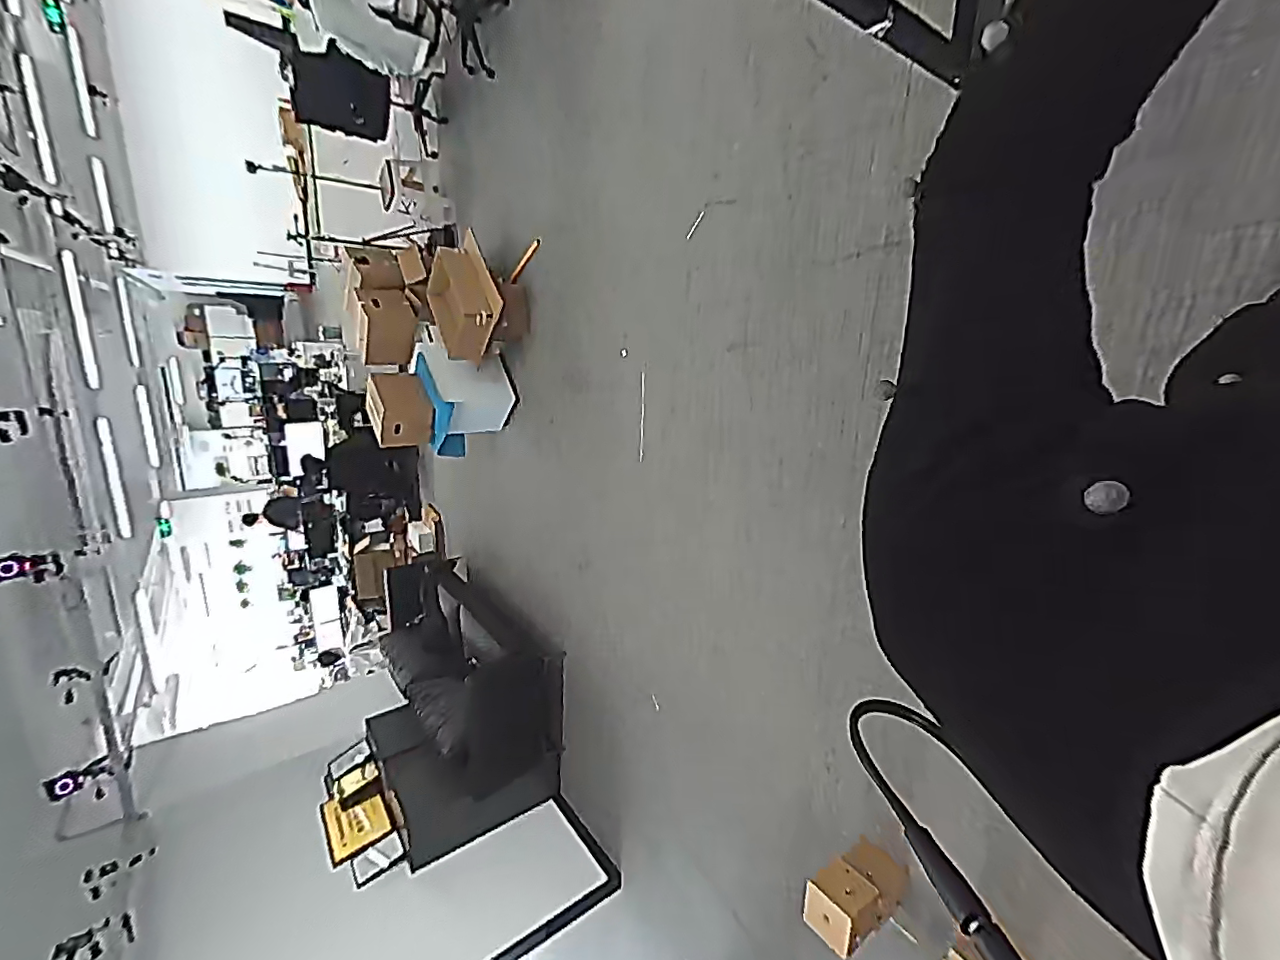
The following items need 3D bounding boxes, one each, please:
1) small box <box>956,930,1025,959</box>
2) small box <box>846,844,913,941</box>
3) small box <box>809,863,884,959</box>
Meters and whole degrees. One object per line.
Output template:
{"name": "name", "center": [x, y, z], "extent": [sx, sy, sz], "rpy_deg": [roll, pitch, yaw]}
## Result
{"name": "small box", "center": [1.044, 1.485, 1.594], "extent": [0.179, 0.176, 0.168], "rpy_deg": [26, 117, 49]}
{"name": "small box", "center": [0.820, 1.430, 1.888], "extent": [0.179, 0.176, 0.168], "rpy_deg": [24, 115, 50]}
{"name": "small box", "center": [0.688, 1.433, 1.793], "extent": [0.168, 0.176, 0.179], "rpy_deg": [17, 111, 51]}
